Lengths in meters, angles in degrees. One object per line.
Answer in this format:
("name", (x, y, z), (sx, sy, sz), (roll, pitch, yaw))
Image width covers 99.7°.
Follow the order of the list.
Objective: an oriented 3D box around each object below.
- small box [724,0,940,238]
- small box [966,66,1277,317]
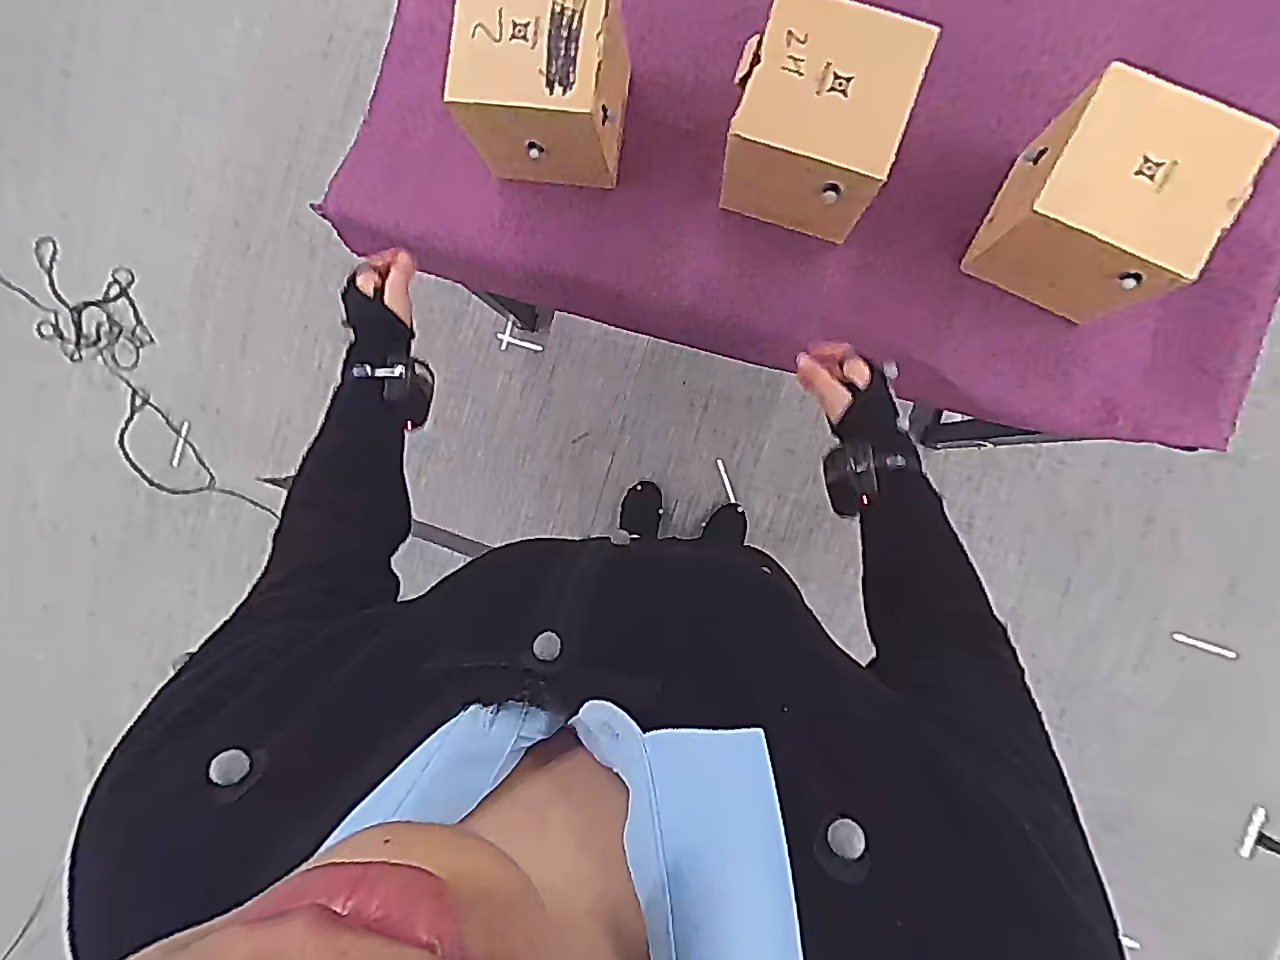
("small box", (0.213, -0.419, 0.651), (0.179, 0.176, 0.168), (20, 92, 5))
("small box", (0.524, -0.311, 0.623), (0.179, 0.176, 0.168), (27, 94, 4))
